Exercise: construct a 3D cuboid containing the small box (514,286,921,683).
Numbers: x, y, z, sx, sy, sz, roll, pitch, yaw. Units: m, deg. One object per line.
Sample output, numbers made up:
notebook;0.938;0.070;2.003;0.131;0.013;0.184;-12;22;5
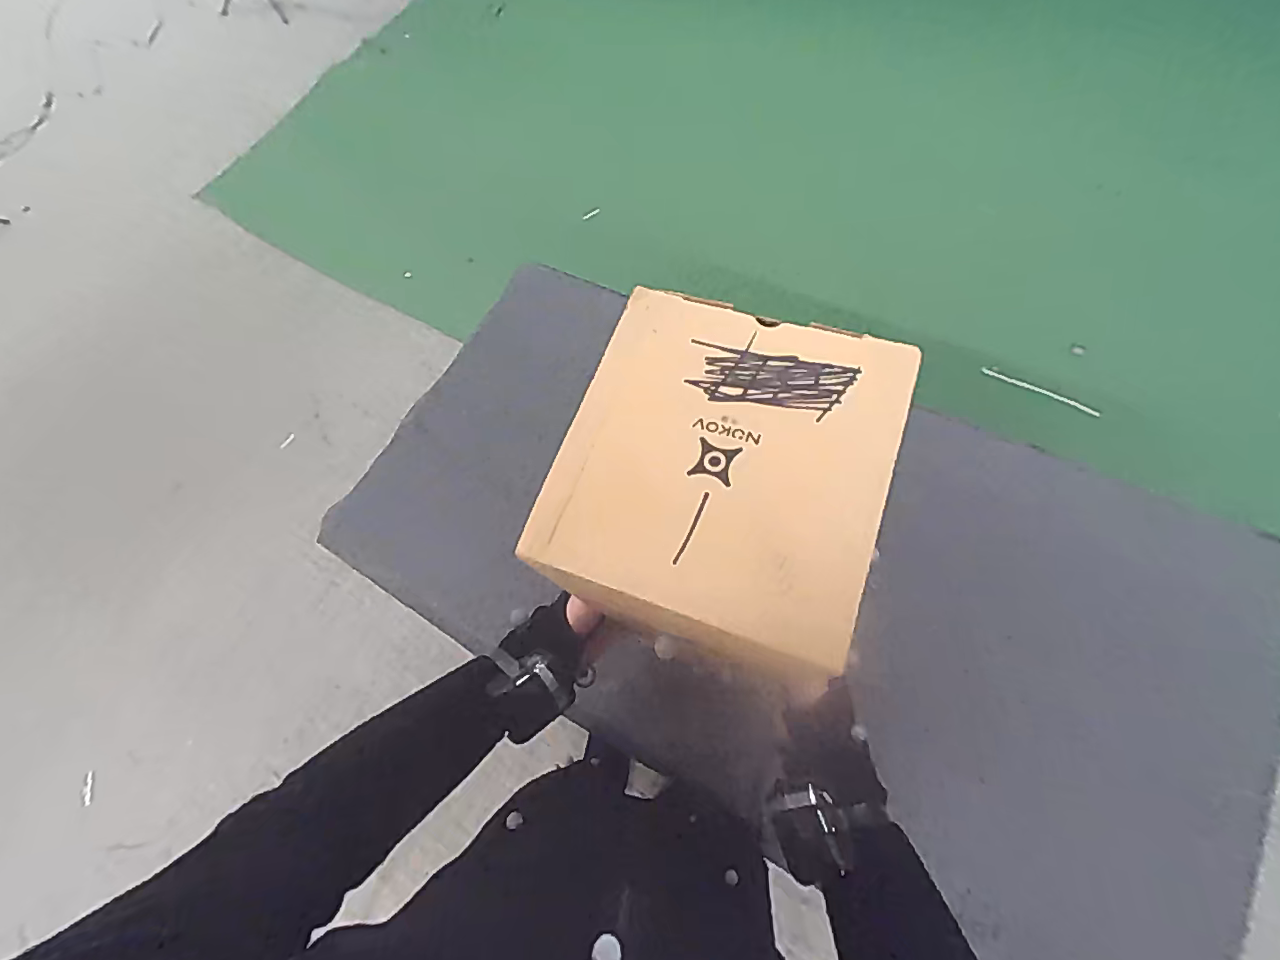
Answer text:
small box;0.051;0.014;0.347;0.168;0.176;0.179;18;73;15
